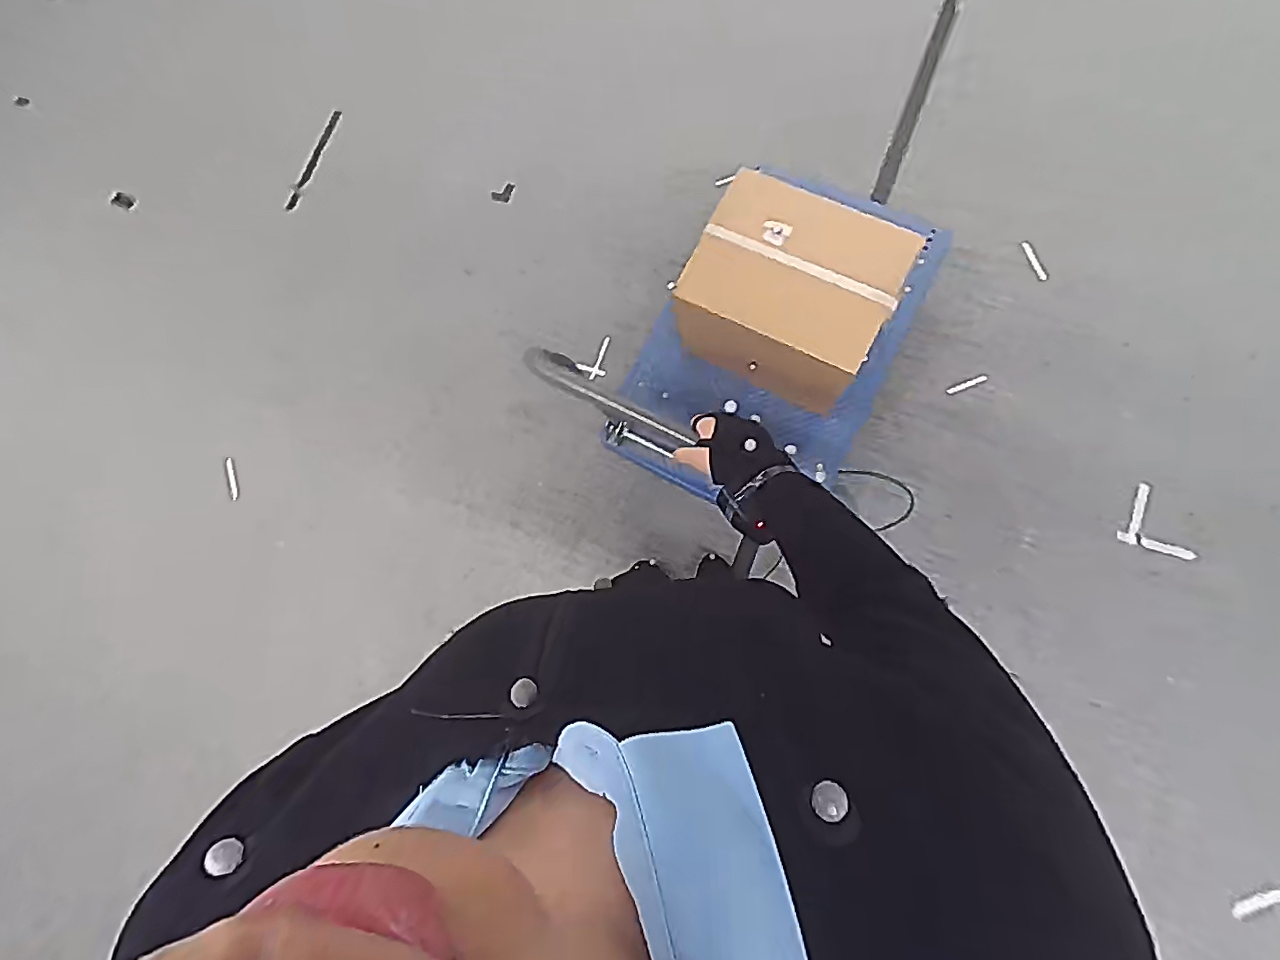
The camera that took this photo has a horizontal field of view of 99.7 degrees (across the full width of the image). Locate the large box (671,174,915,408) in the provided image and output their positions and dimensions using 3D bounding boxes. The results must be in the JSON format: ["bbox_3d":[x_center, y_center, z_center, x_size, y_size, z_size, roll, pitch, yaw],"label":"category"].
[{"bbox_3d":[0.330,-0.411,1.242,0.408,0.320,0.320,27,85,12],"label":"large box"}]
